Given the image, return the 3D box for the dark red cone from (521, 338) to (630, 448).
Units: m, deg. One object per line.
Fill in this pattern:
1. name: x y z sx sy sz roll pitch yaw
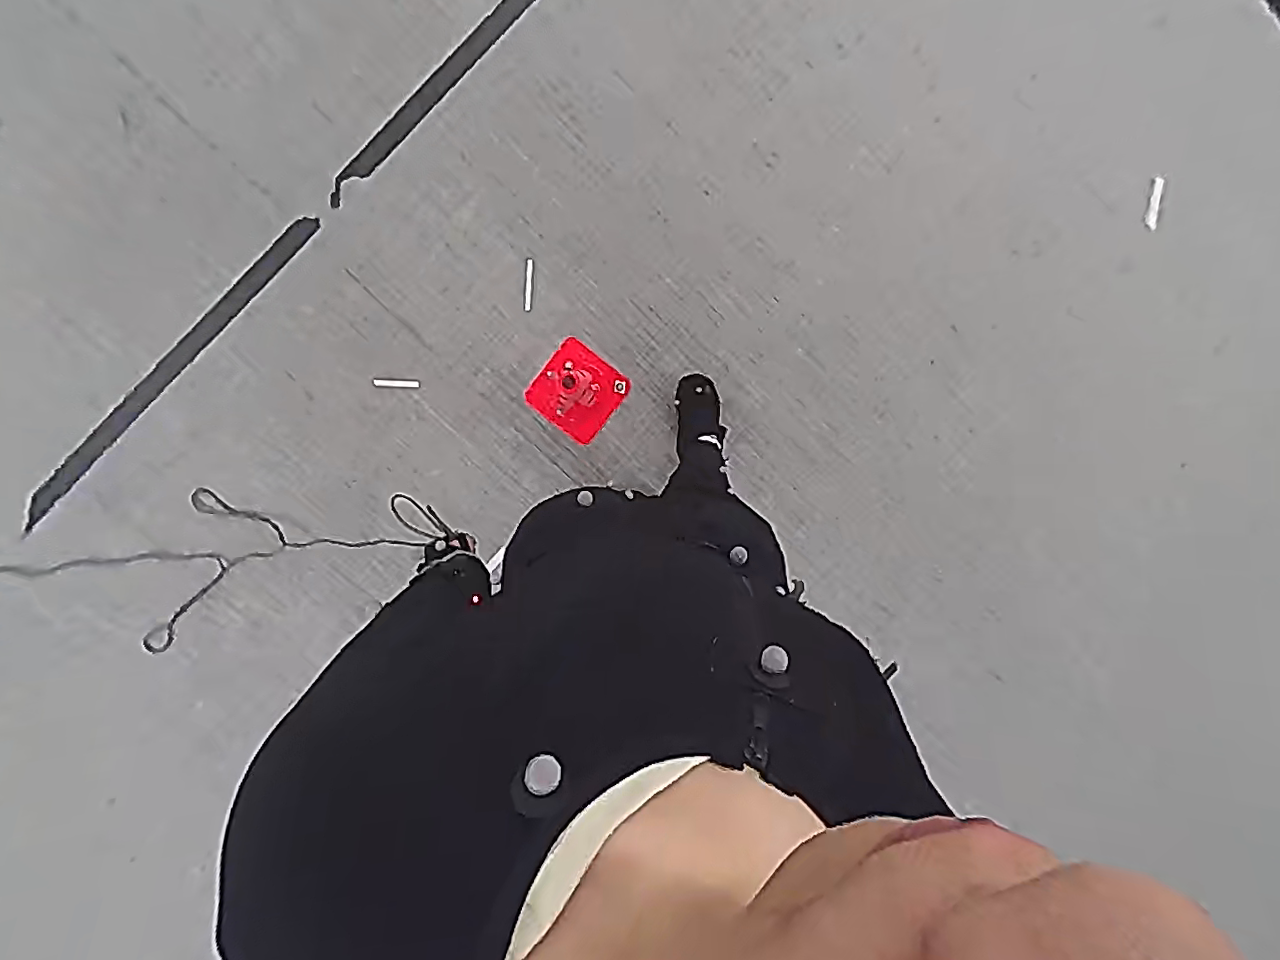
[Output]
1. dark red cone: -0.144 -0.184 1.112 0.201 0.394 0.202 37 93 -6
